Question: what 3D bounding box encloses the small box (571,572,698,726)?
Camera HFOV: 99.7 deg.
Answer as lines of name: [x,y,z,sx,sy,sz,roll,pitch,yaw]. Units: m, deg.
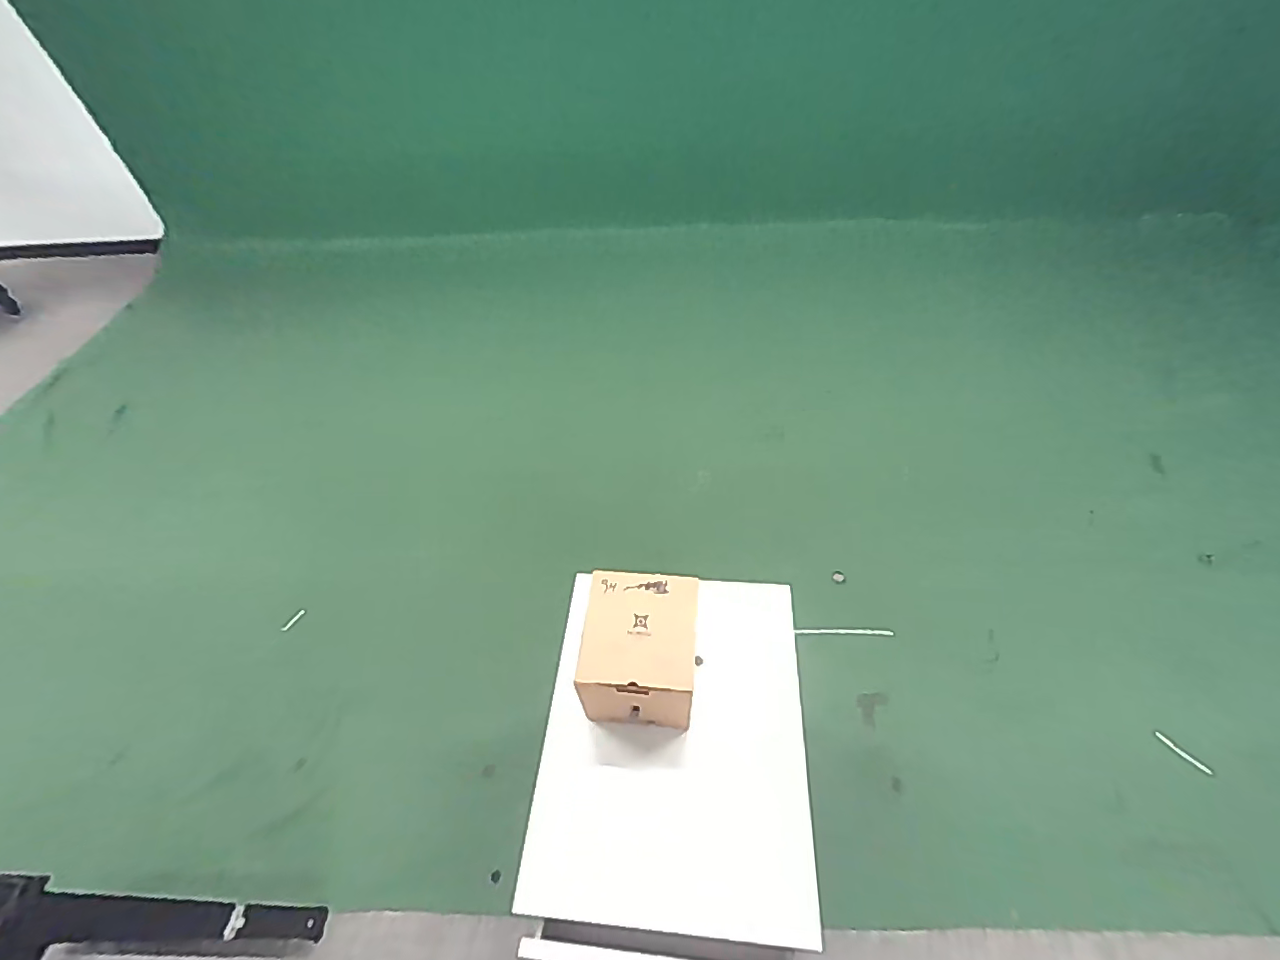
small box: [0.001,0.261,0.824,0.168,0.176,0.179,3,51,5]
